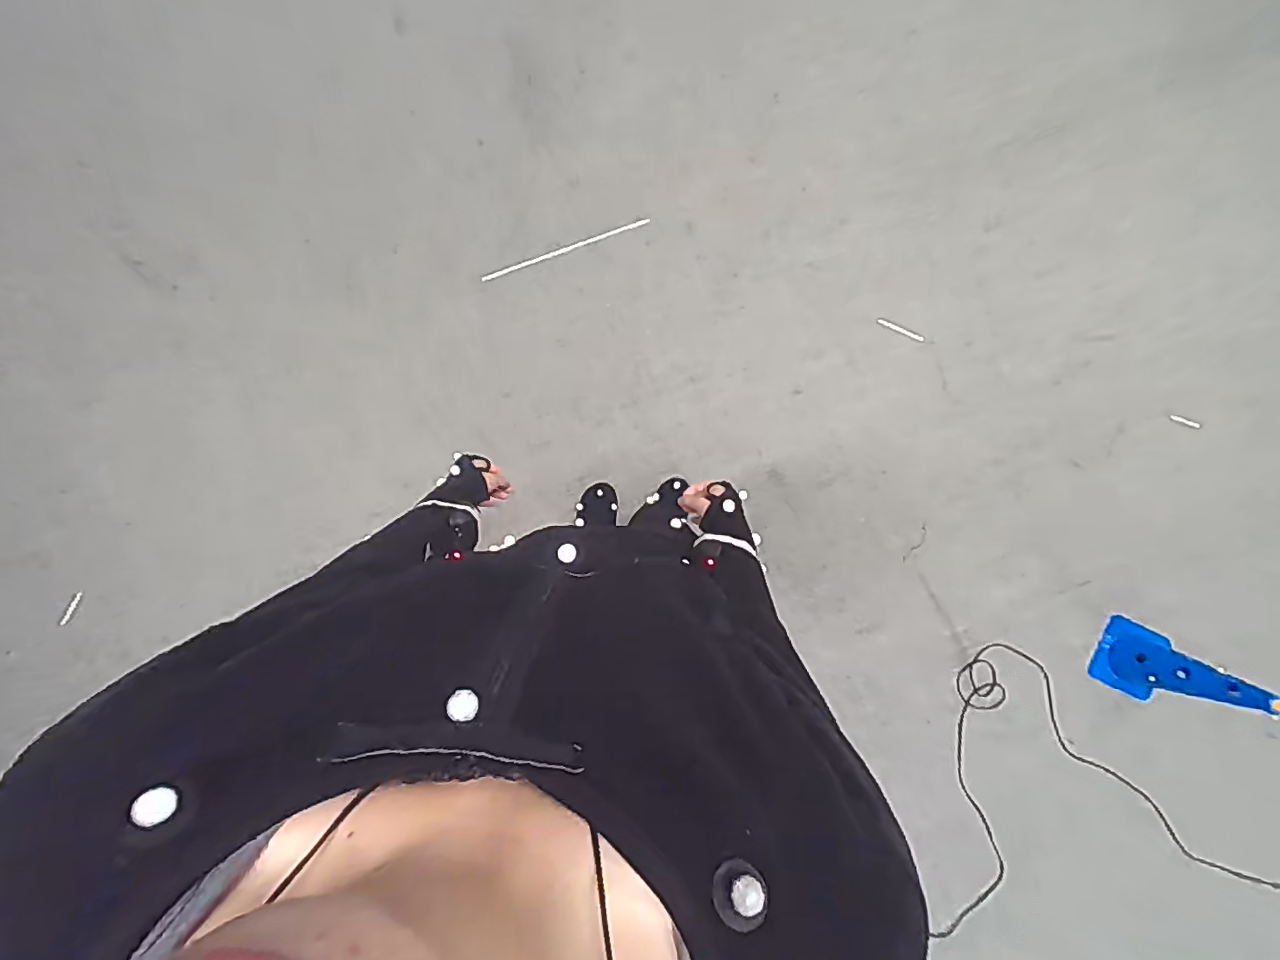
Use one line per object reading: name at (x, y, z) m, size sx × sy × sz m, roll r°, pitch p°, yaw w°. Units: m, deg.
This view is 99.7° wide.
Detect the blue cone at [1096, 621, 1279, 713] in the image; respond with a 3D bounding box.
blue cone at (1.426, 0.511, 1.395) m, size 0.192 × 0.380 × 0.193 m, roll 24°, pitch 87°, yaw -2°
